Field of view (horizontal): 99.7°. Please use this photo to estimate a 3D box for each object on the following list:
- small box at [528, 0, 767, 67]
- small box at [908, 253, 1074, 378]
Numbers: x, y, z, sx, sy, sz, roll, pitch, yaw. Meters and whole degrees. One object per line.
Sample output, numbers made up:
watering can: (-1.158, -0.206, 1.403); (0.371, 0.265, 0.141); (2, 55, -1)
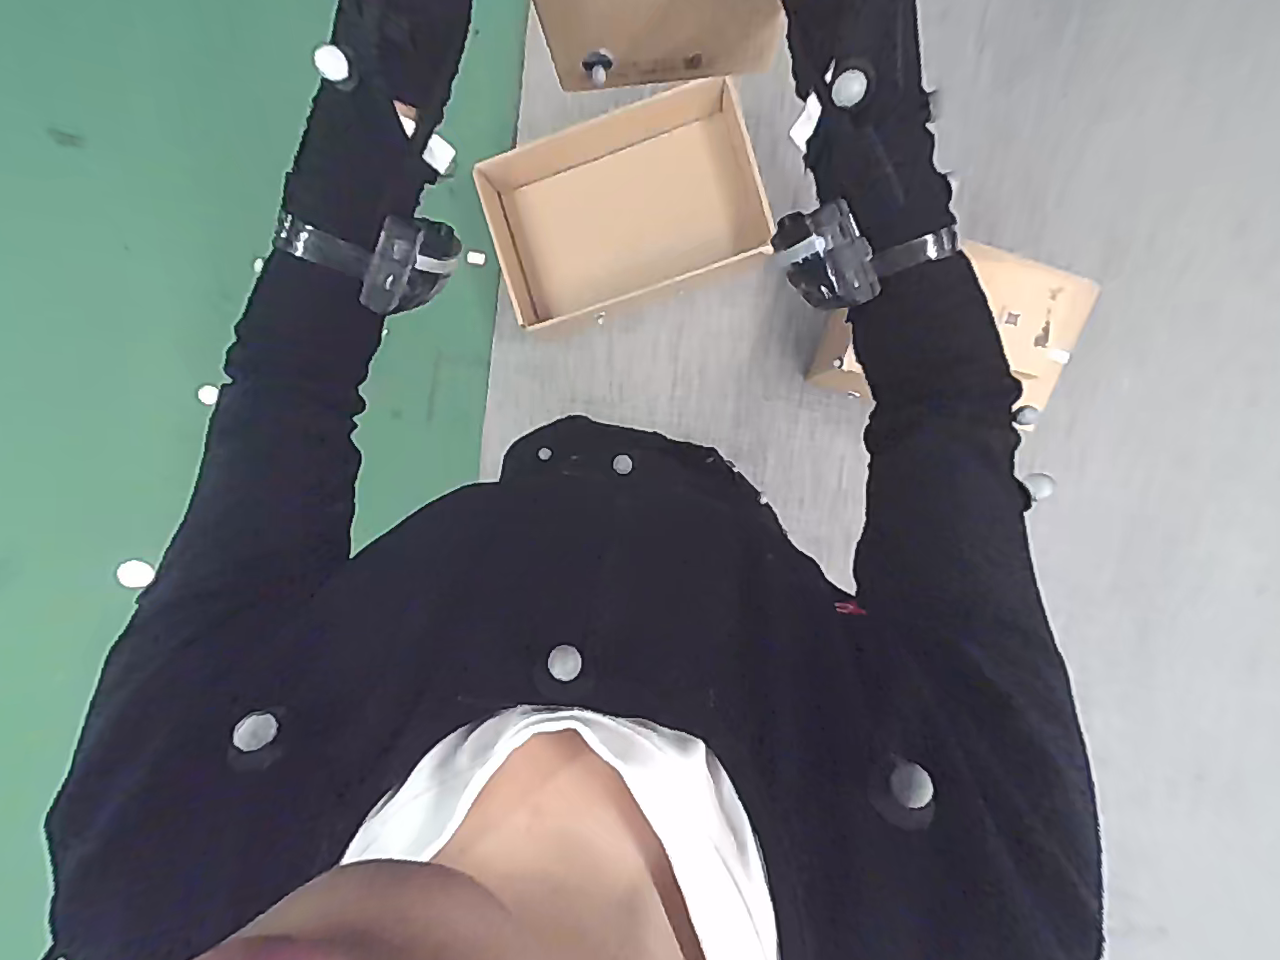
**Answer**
small box: (0.003, -0.398, 0.339); (0.168, 0.176, 0.179); (-1, 91, 3)
small box: (0.620, -0.287, 0.982); (0.179, 0.176, 0.168); (15, 97, 4)
